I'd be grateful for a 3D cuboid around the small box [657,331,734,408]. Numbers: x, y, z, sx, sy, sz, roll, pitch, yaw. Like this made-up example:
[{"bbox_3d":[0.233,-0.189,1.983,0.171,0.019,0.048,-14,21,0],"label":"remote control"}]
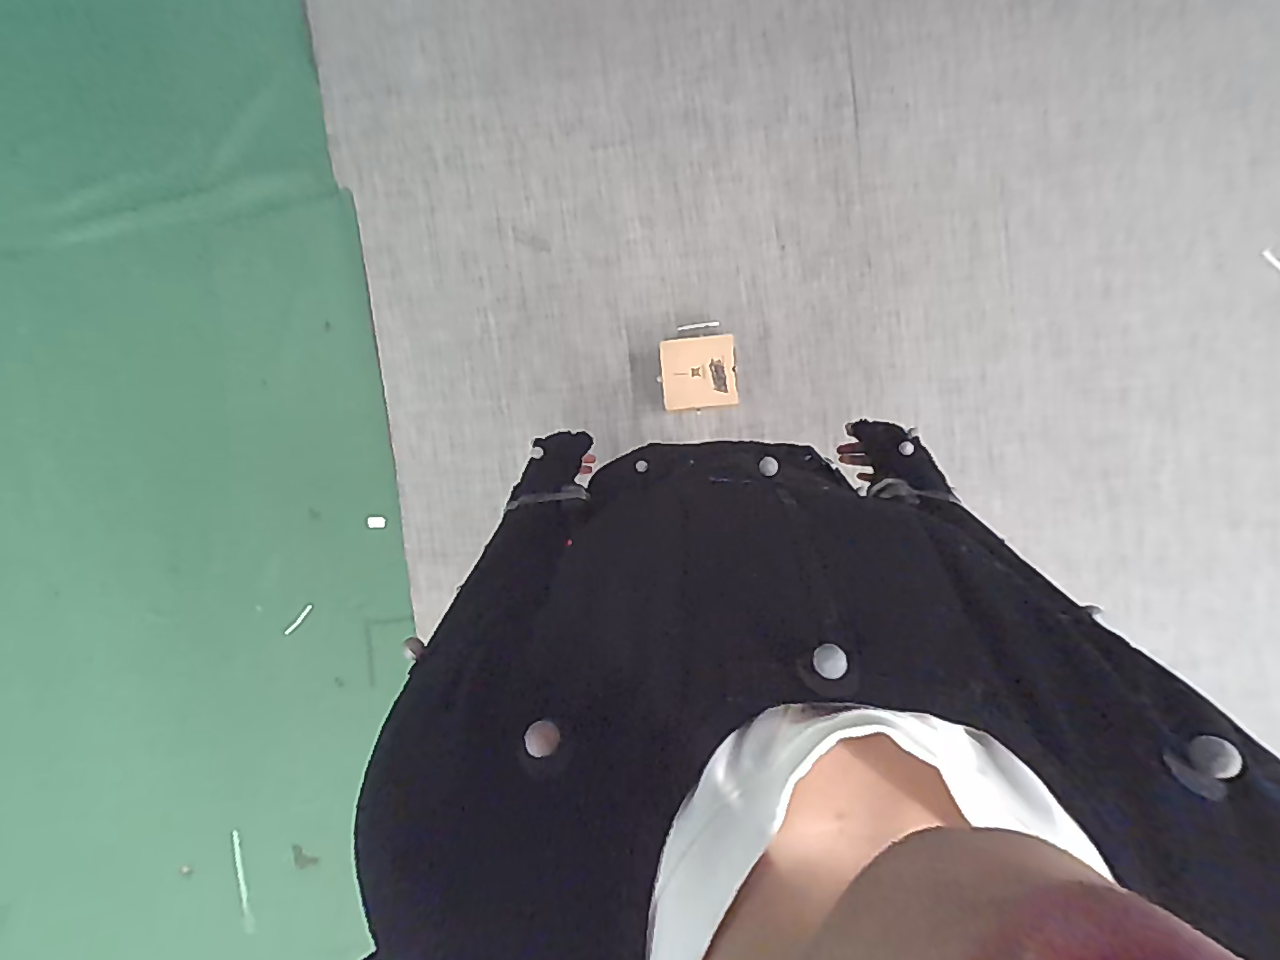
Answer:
[{"bbox_3d":[0.137,-0.273,1.360,0.179,0.176,0.168,-4,94,5],"label":"small box"}]
